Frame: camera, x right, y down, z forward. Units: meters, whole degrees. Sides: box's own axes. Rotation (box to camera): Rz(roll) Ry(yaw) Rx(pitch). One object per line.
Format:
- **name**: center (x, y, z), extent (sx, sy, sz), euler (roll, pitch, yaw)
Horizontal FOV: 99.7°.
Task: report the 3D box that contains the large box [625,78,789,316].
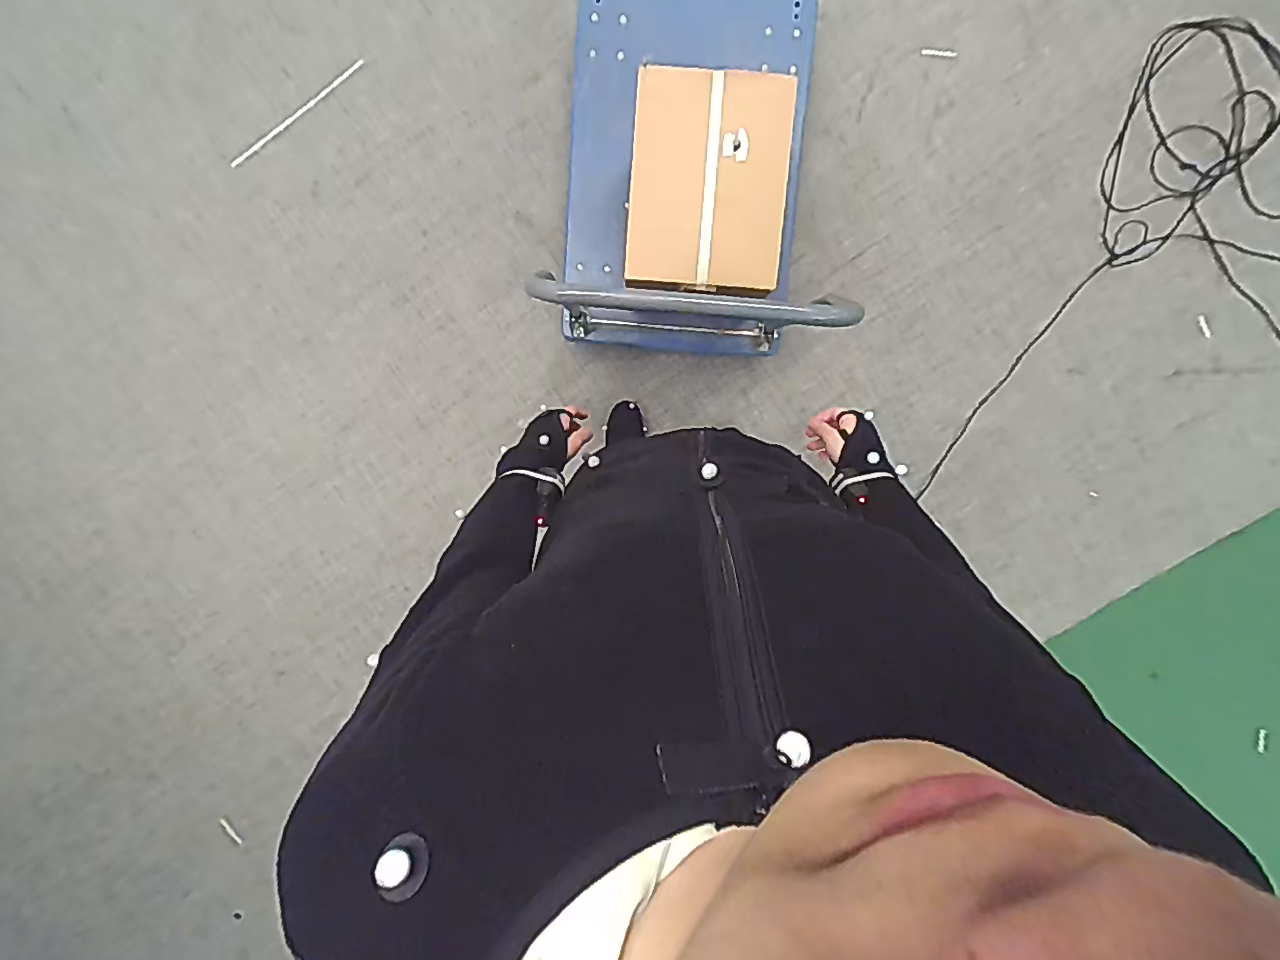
- **large box**: center (0.136, -0.612, 1.247), extent (0.320, 0.320, 0.408), euler (4, 97, -1)
